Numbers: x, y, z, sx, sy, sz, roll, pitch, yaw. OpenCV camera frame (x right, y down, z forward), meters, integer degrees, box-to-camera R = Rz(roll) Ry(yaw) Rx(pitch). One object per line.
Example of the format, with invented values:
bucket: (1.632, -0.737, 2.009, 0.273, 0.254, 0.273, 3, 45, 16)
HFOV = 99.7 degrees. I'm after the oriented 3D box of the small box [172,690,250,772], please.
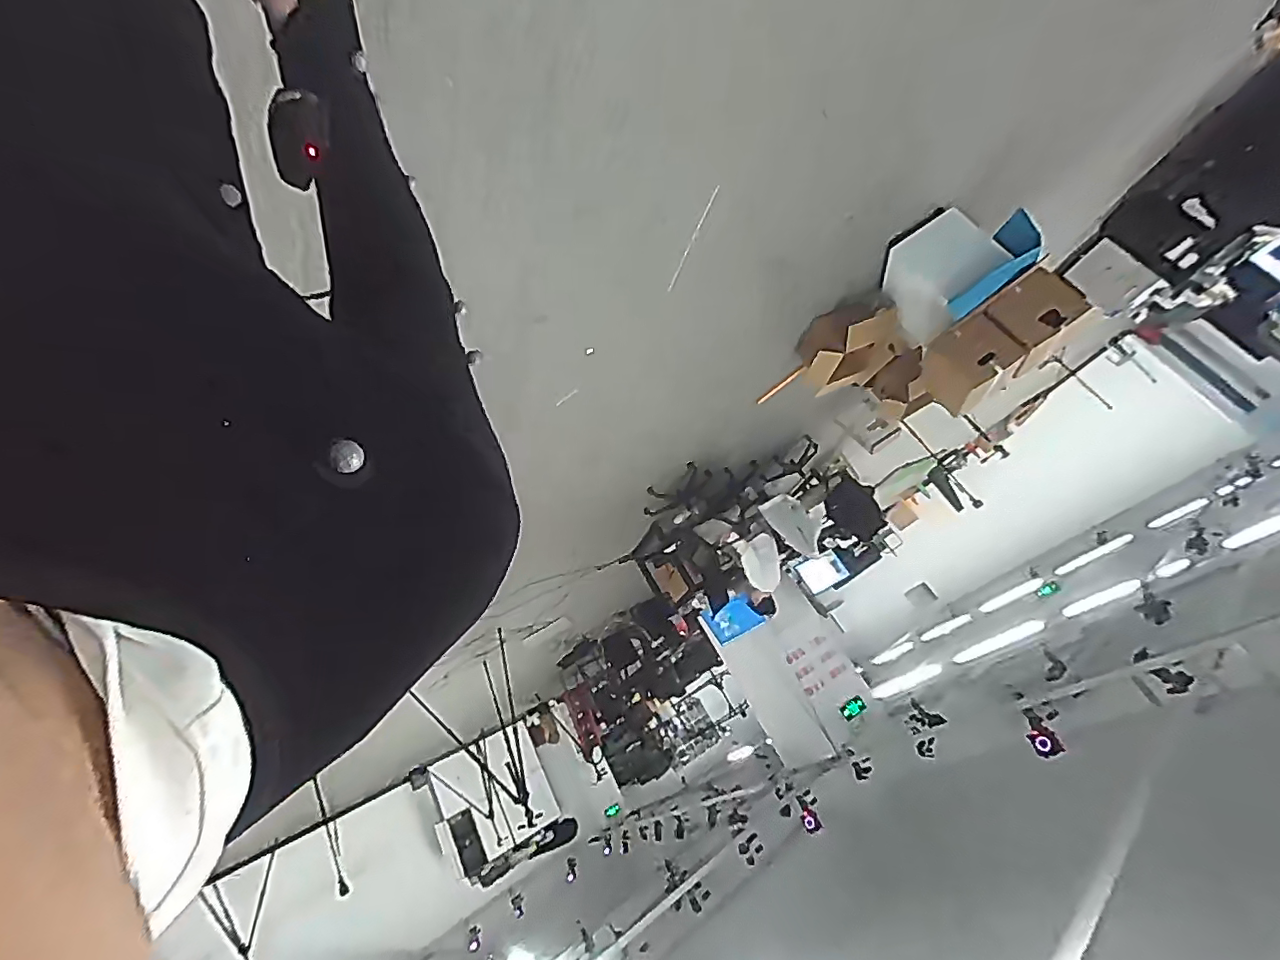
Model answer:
small box: (-1.395, 0.811, 1.761, 0.168, 0.176, 0.179, -13, 152, -37)
